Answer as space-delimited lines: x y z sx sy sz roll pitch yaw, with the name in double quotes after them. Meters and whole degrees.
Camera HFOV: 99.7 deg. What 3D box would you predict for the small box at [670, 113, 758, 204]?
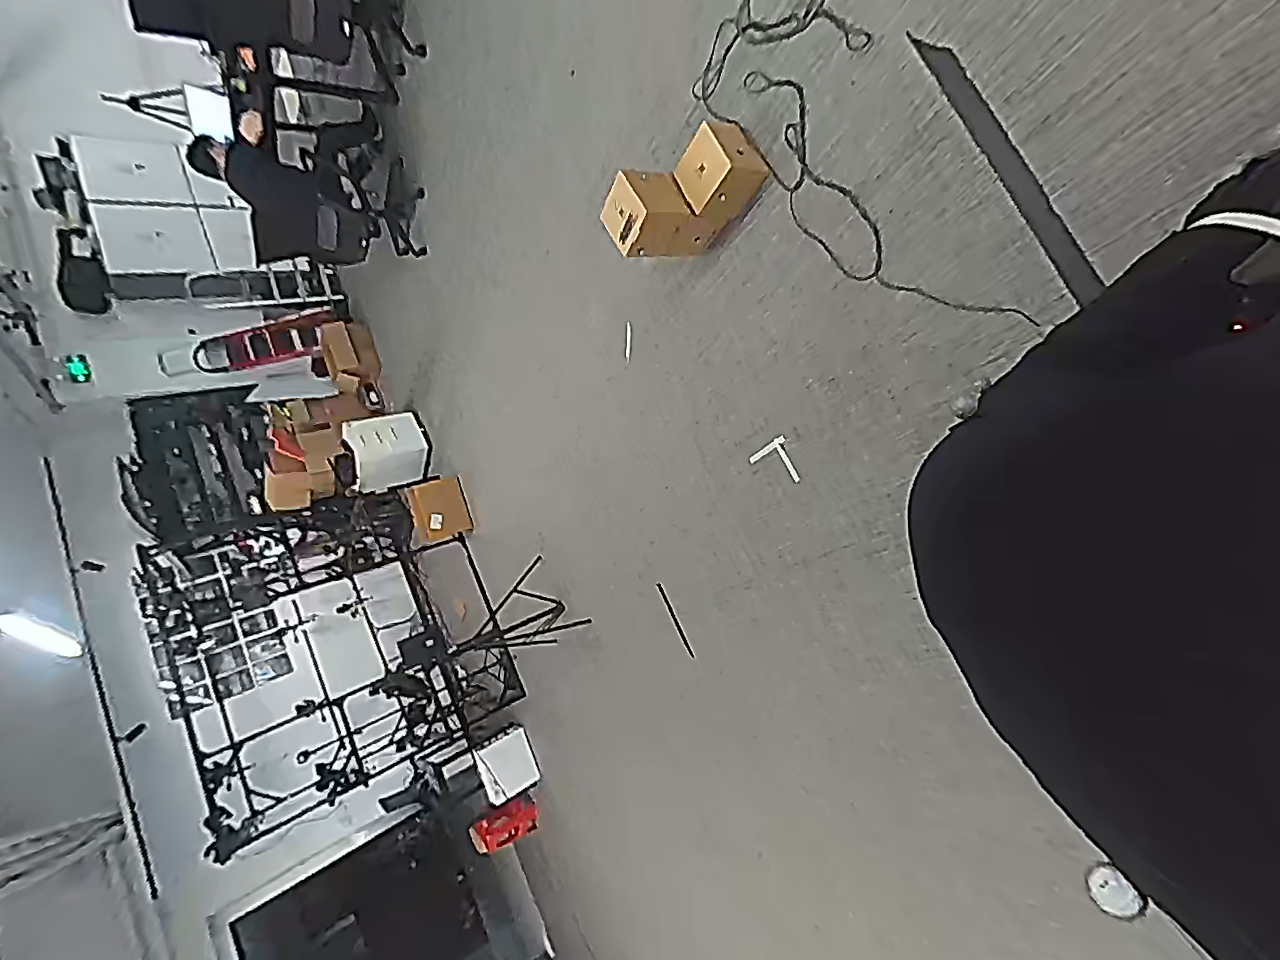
0.206 -0.892 1.512 0.168 0.176 0.179 -3 113 40 "small box"
